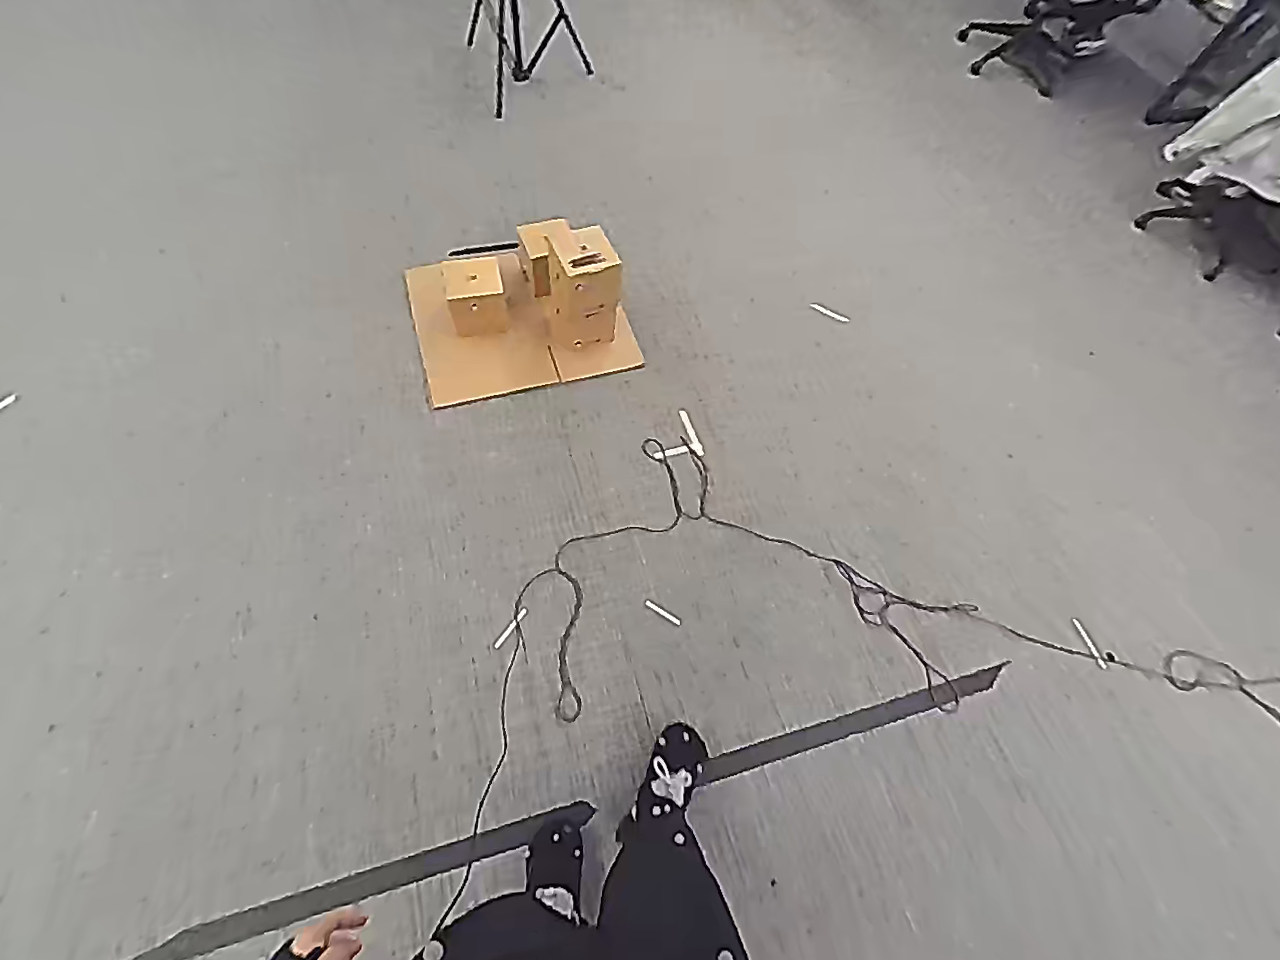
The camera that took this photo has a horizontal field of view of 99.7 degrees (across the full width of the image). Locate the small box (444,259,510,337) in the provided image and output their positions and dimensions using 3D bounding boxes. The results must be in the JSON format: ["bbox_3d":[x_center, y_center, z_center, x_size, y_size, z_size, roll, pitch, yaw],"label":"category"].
[{"bbox_3d":[-0.525,-0.589,1.757,0.179,0.176,0.168,-11,65,-11],"label":"small box"}]

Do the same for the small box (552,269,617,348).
[{"bbox_3d":[-0.182,-0.555,1.781,0.168,0.176,0.179,-18,66,-15],"label":"small box"}]

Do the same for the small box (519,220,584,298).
[{"bbox_3d":[-0.305,-0.764,1.877,0.179,0.176,0.168,-19,65,-15],"label":"small box"}]
